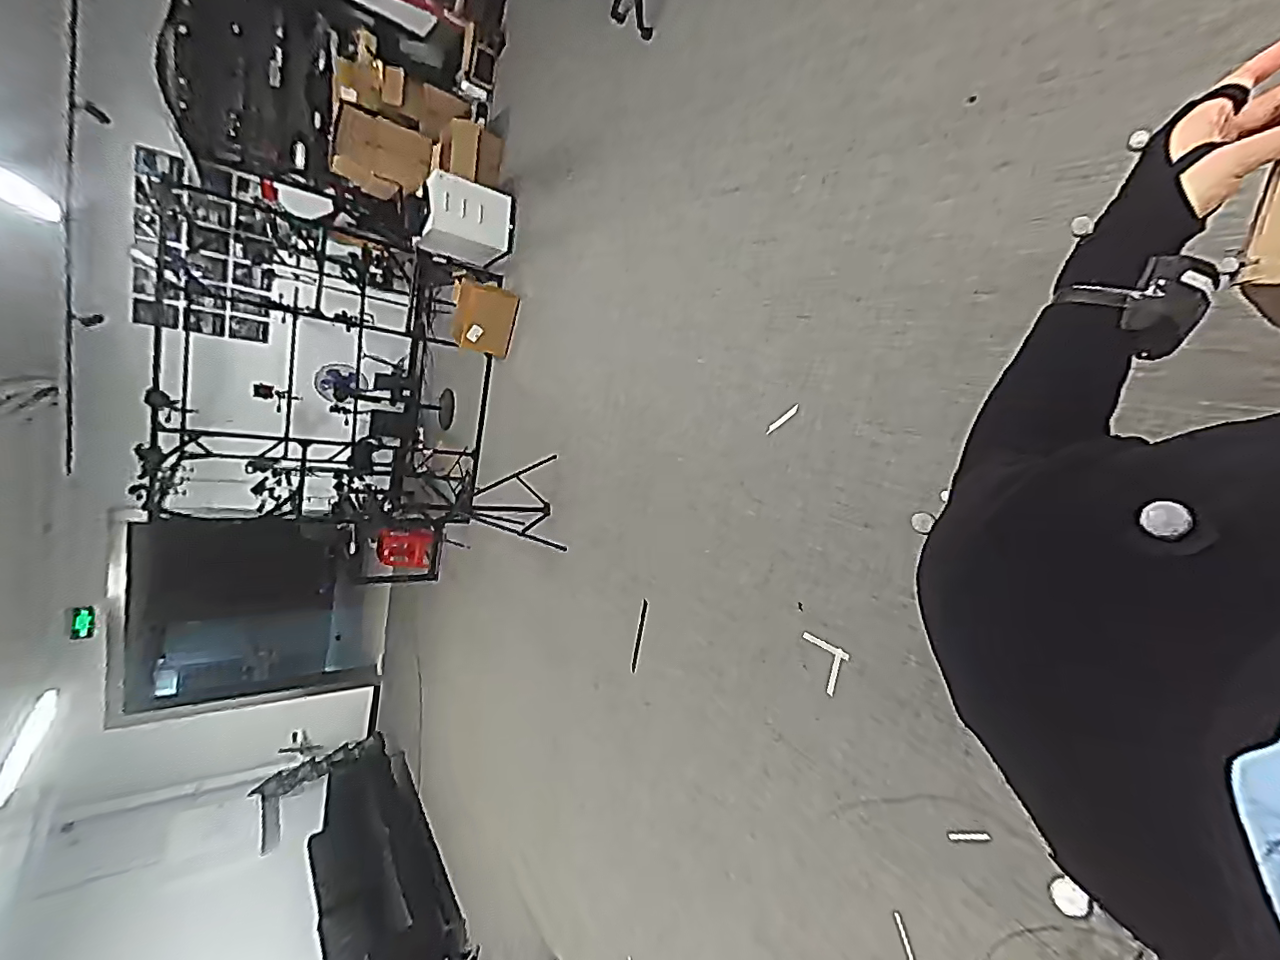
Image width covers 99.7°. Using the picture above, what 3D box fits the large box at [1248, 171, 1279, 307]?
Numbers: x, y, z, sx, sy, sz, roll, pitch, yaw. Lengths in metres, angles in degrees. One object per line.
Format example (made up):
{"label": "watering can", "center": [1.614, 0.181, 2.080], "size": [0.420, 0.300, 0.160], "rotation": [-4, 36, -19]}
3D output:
{"label": "large box", "center": [0.706, -0.256, 0.302], "size": [0.408, 0.320, 0.320], "rotation": [23, 109, 53]}
